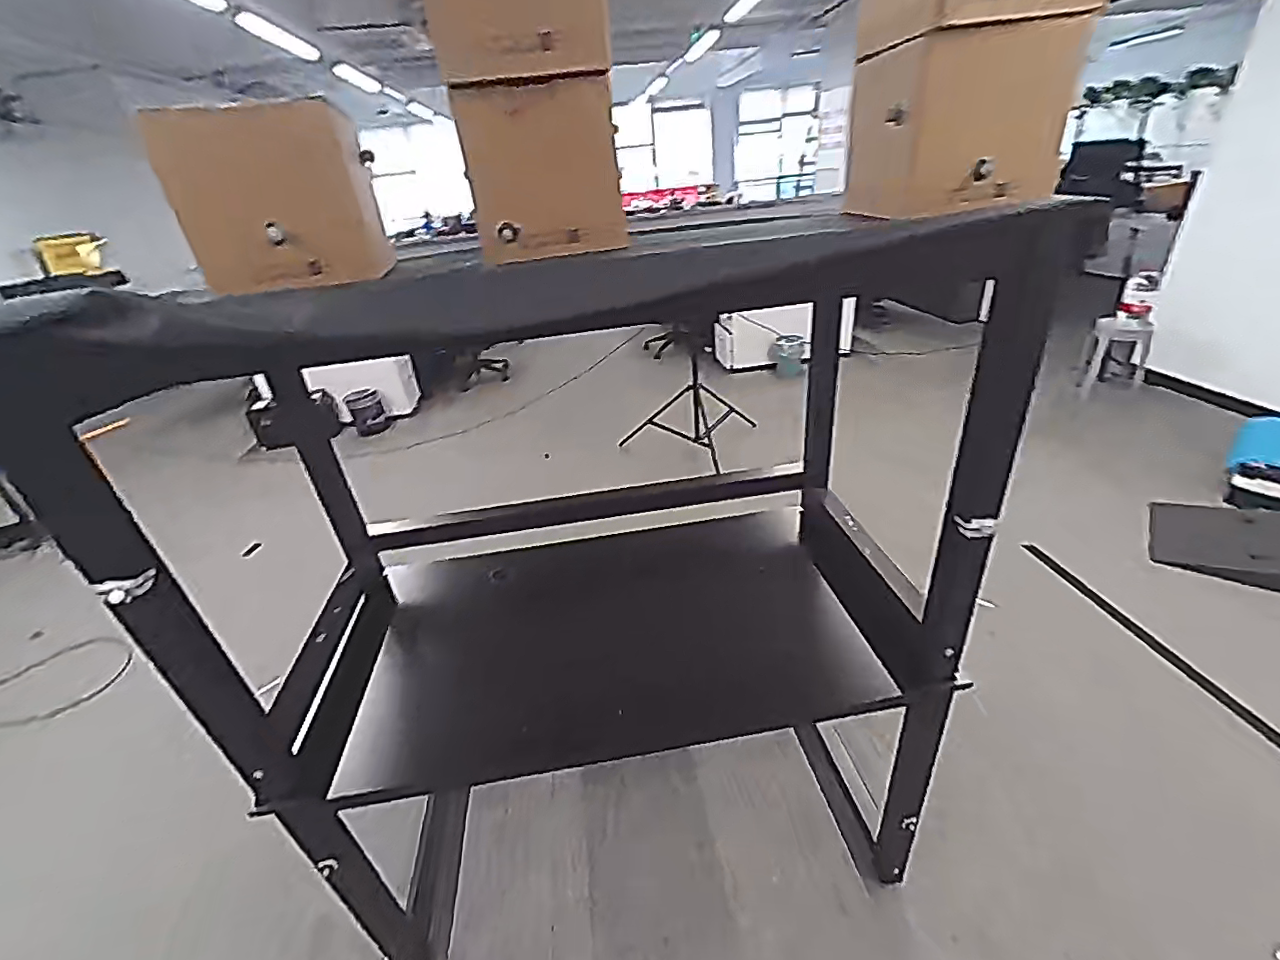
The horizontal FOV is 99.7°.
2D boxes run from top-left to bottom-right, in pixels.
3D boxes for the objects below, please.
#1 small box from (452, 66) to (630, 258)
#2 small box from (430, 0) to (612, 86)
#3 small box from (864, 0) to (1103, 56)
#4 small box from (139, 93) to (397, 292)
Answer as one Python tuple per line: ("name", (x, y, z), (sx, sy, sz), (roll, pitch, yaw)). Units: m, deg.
("small box", (-0.109, -0.367, 0.647), (0.168, 0.176, 0.179), (-9, 28, -4))
("small box", (-0.126, -0.502, 0.557), (0.168, 0.176, 0.179), (-9, 28, -6))
("small box", (0.343, -0.545, 0.538), (0.168, 0.176, 0.179), (-9, 30, -3))
("small box", (-0.387, -0.315, 0.608), (0.168, 0.176, 0.179), (-13, 29, -11))
